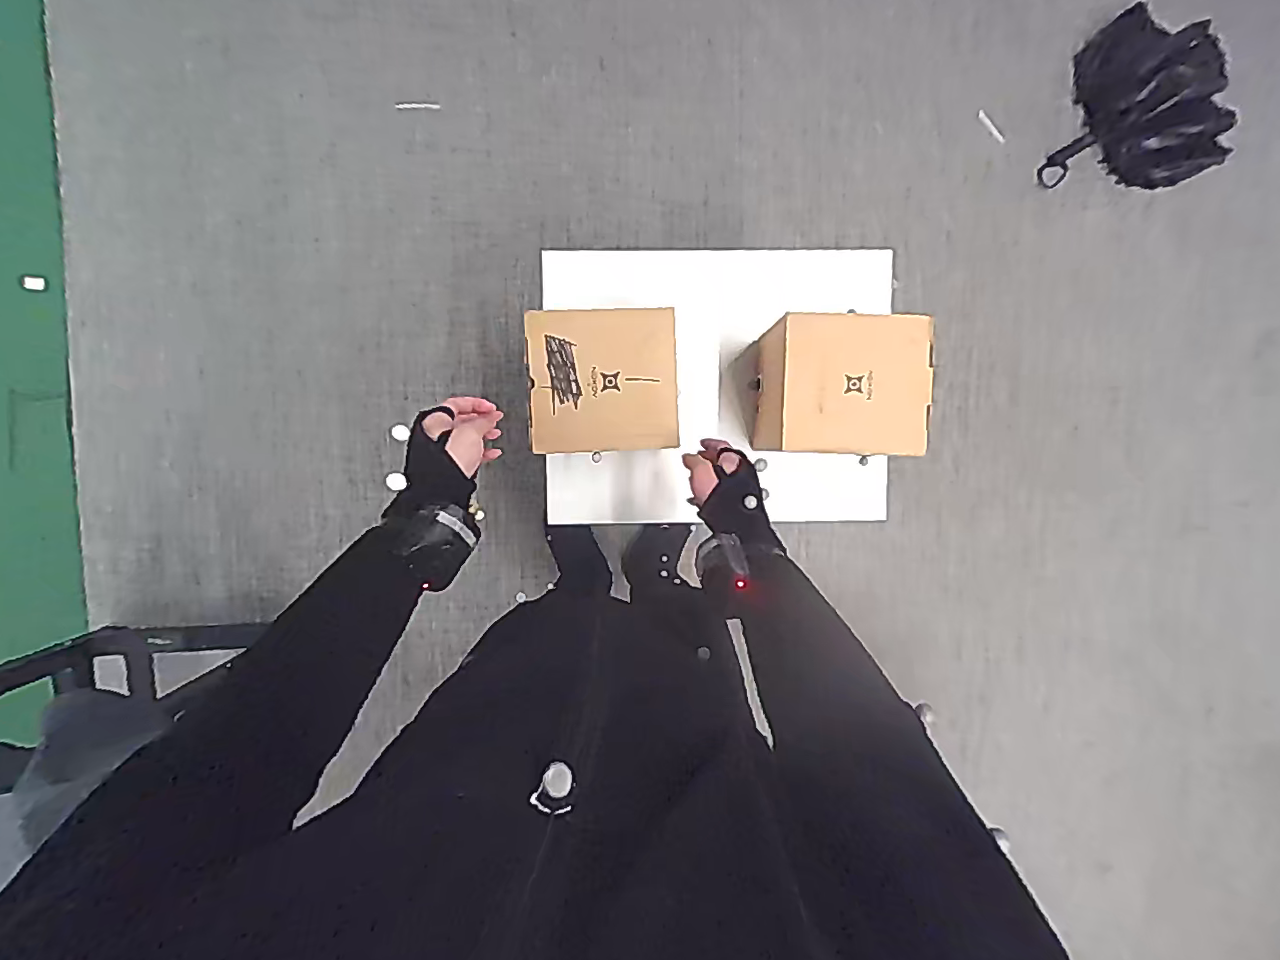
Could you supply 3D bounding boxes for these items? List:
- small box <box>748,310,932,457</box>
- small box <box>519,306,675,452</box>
[{"bbox_3d":[0.248,-0.117,0.707,0.179,0.176,0.168,1,93,0],"label":"small box"},{"bbox_3d":[-0.051,-0.120,0.699,0.179,0.176,0.168,-2,94,-3],"label":"small box"}]
